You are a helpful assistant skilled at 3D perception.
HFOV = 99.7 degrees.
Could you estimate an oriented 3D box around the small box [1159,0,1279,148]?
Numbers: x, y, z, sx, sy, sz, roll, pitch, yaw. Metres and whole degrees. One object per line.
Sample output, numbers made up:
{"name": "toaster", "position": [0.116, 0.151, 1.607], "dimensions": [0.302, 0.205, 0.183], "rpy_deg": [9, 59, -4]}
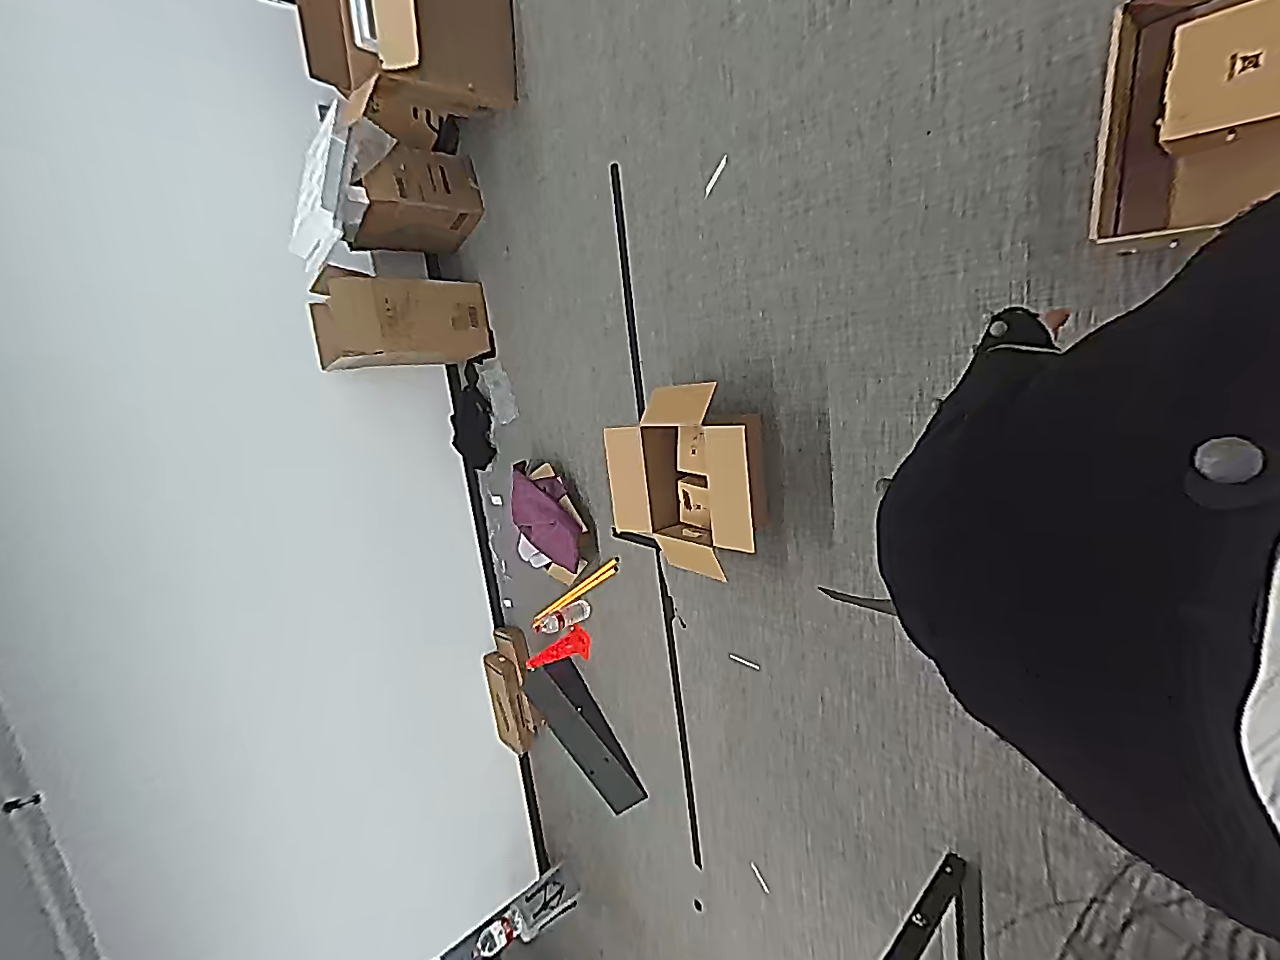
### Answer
{"name": "small box", "position": [0.969, -0.650, 0.860], "dimensions": [0.179, 0.176, 0.168], "rpy_deg": [11, 114, 47]}
